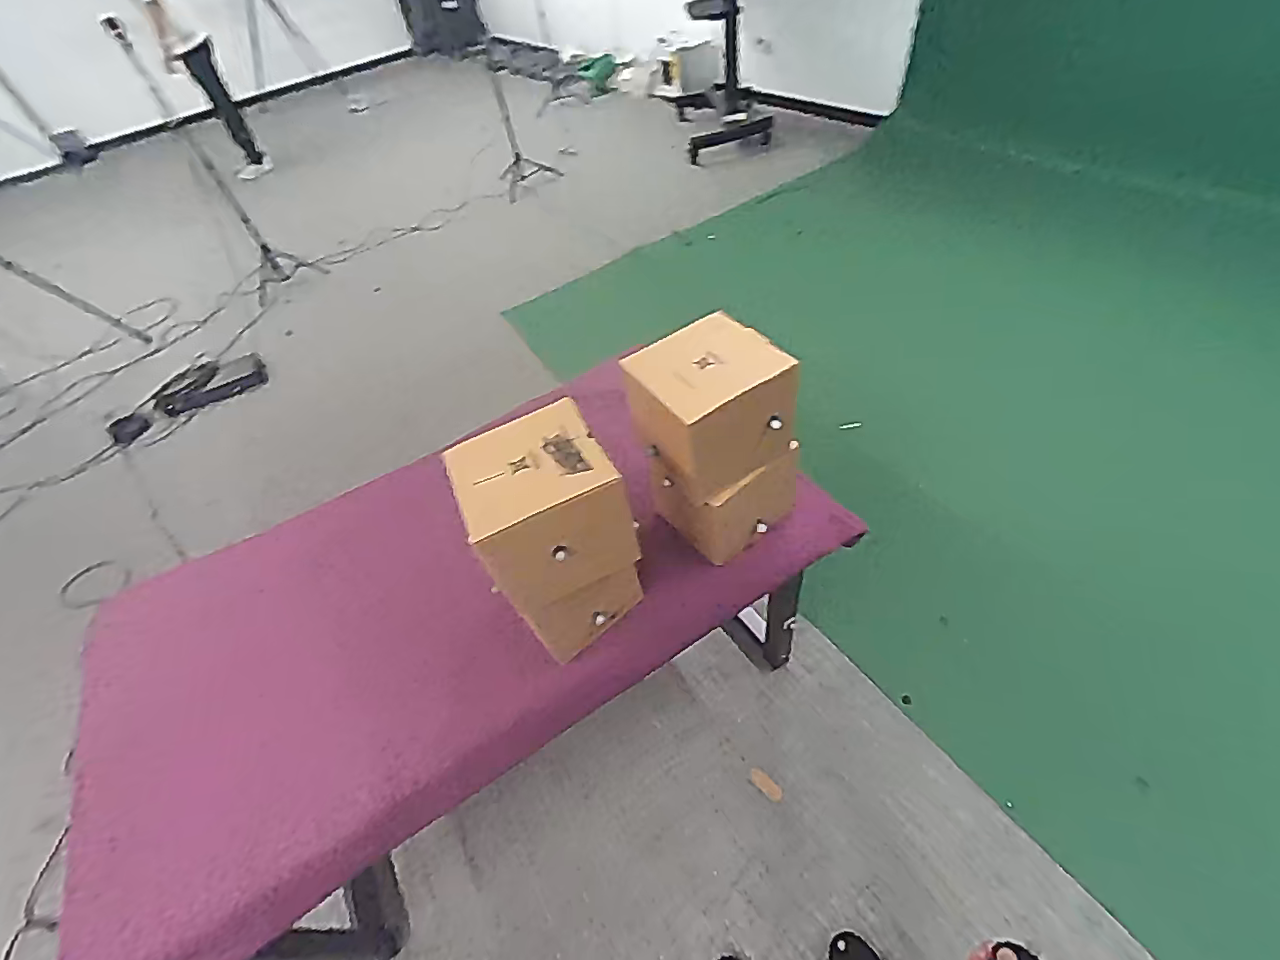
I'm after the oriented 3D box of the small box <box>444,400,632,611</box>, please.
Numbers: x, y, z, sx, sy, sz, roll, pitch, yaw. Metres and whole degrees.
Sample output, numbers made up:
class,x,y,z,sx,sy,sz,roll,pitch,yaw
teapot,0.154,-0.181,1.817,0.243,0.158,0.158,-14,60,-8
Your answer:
class,x,y,z,sx,sy,sz,roll,pitch,yaw
small box,-0.121,0.035,0.693,0.179,0.176,0.168,-25,49,-9

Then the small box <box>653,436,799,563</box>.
class,x,y,z,sx,sy,sz,roll,pitch,yaw
small box,0.135,0.001,0.890,0.179,0.176,0.168,-34,52,-17

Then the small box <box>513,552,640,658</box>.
class,x,y,z,sx,sy,sz,roll,pitch,yaw
small box,-0.122,0.136,0.825,0.168,0.176,0.179,-37,52,-19

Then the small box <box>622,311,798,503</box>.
class,x,y,z,sx,sy,sz,roll,pitch,yaw
small box,0.097,-0.103,0.769,0.179,0.176,0.168,-30,51,-14
